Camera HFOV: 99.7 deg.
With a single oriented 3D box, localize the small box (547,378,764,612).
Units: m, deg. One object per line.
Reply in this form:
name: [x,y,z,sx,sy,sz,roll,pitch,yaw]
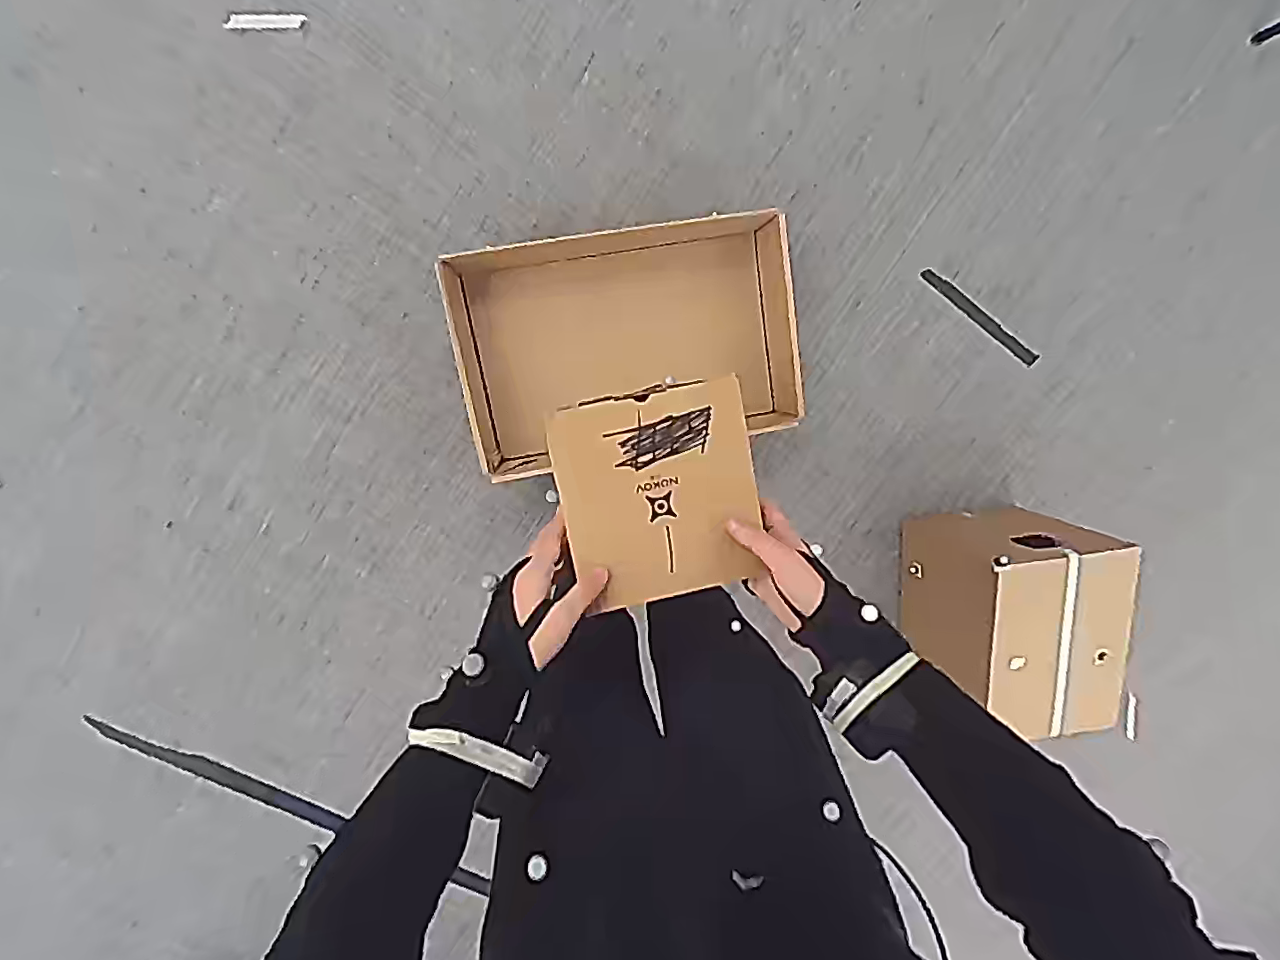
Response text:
small box: [0.005,0.004,0.534,0.168,0.176,0.179,-12,100,-6]
